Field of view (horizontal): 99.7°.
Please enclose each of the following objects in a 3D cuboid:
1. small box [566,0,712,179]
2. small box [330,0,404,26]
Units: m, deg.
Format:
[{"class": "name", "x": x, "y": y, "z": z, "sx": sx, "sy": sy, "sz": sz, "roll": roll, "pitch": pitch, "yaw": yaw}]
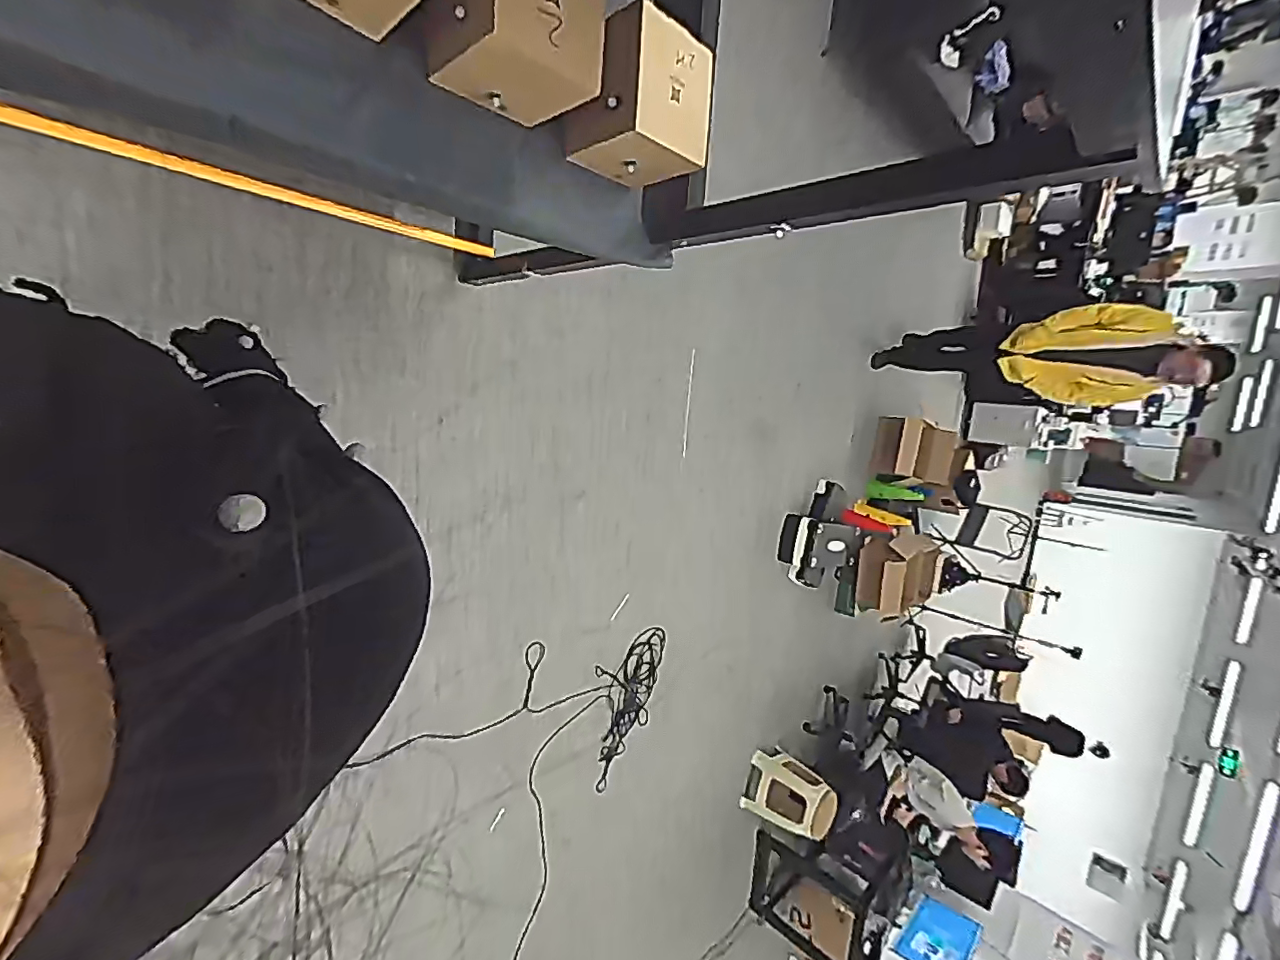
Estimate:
[{"class": "small box", "x": -0.006, "y": -0.616, "z": 0.880, "sx": 0.168, "sy": 0.176, "sz": 0.179, "roll": -7, "pitch": 104, "yaw": -46}, {"class": "small box", "x": -0.313, "y": -0.627, "z": 0.553, "sx": 0.168, "sy": 0.176, "sz": 0.179, "roll": 1, "pitch": 99, "yaw": -47}]
